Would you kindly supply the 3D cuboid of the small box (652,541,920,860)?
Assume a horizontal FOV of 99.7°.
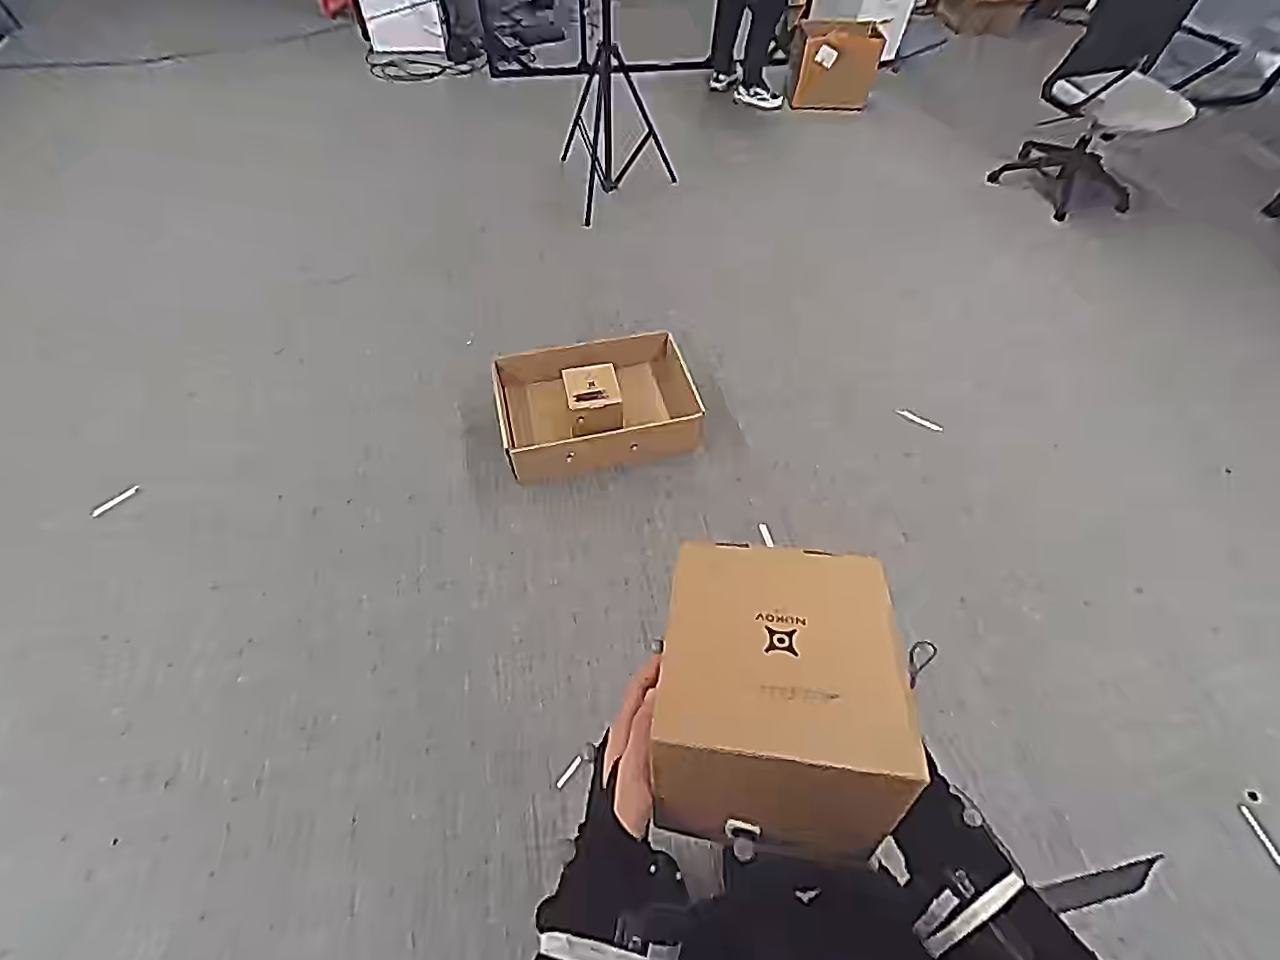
[{"bbox_3d":[0.102,0.176,0.446,0.168,0.176,0.179,4,41,8],"label":"small box"}]
